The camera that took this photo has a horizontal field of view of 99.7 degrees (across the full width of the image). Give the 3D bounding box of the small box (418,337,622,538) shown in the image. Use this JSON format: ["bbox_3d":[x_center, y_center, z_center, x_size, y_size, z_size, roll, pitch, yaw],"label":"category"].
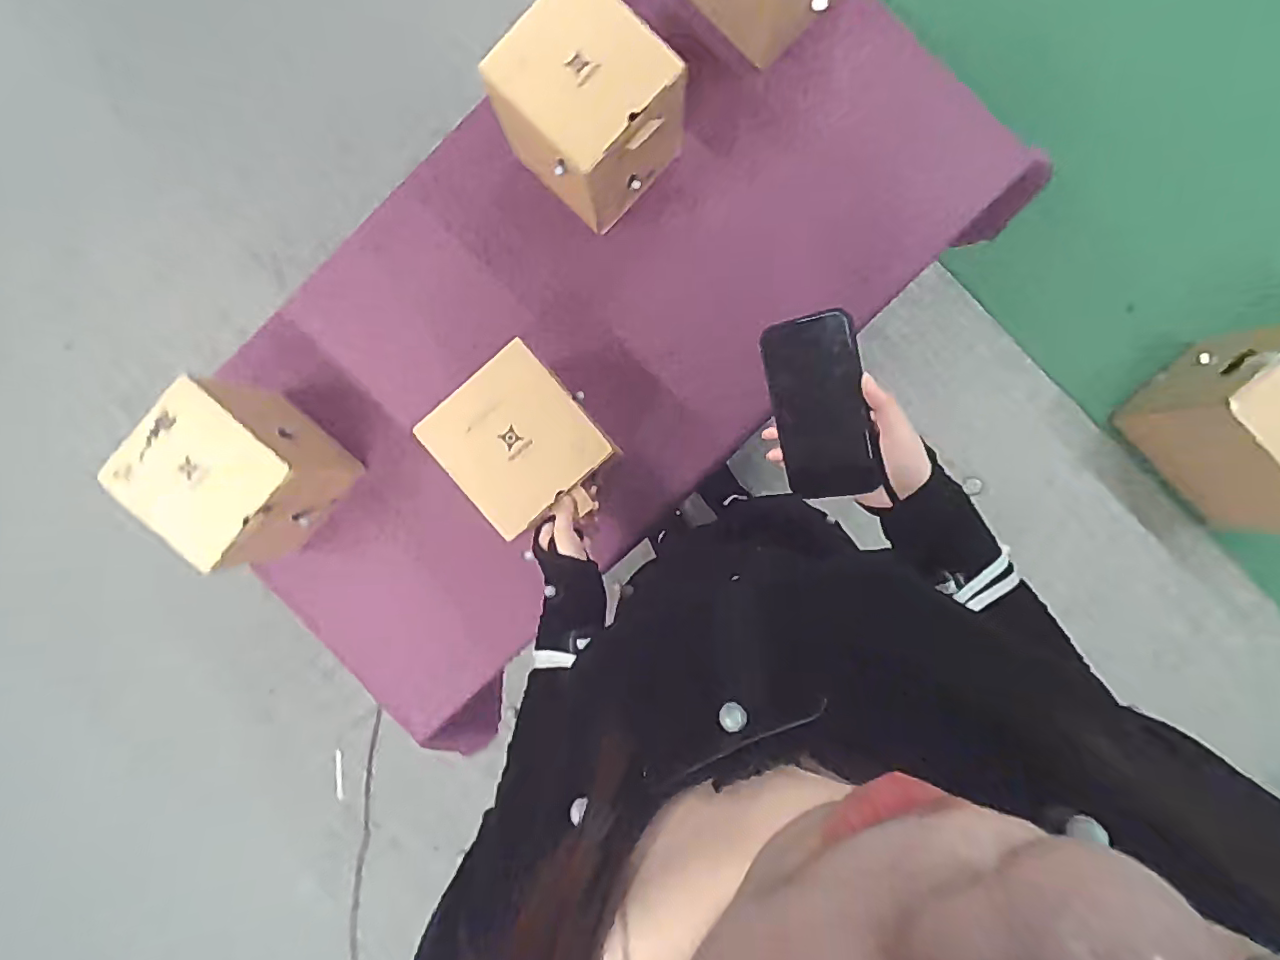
[{"bbox_3d":[-0.139,-0.051,0.700,0.168,0.176,0.179,-41,89,2],"label":"small box"}]

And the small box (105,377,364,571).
[{"bbox_3d":[-0.513,-0.011,0.714,0.179,0.176,0.168,41,92,0],"label":"small box"}]

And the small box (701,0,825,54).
[{"bbox_3d":[0.162,-0.693,0.666,0.168,0.176,0.179,-44,90,4],"label":"small box"}]

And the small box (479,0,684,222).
[{"bbox_3d":[-0.065,-0.470,0.686,0.179,0.176,0.168,43,93,0],"label":"small box"}]
